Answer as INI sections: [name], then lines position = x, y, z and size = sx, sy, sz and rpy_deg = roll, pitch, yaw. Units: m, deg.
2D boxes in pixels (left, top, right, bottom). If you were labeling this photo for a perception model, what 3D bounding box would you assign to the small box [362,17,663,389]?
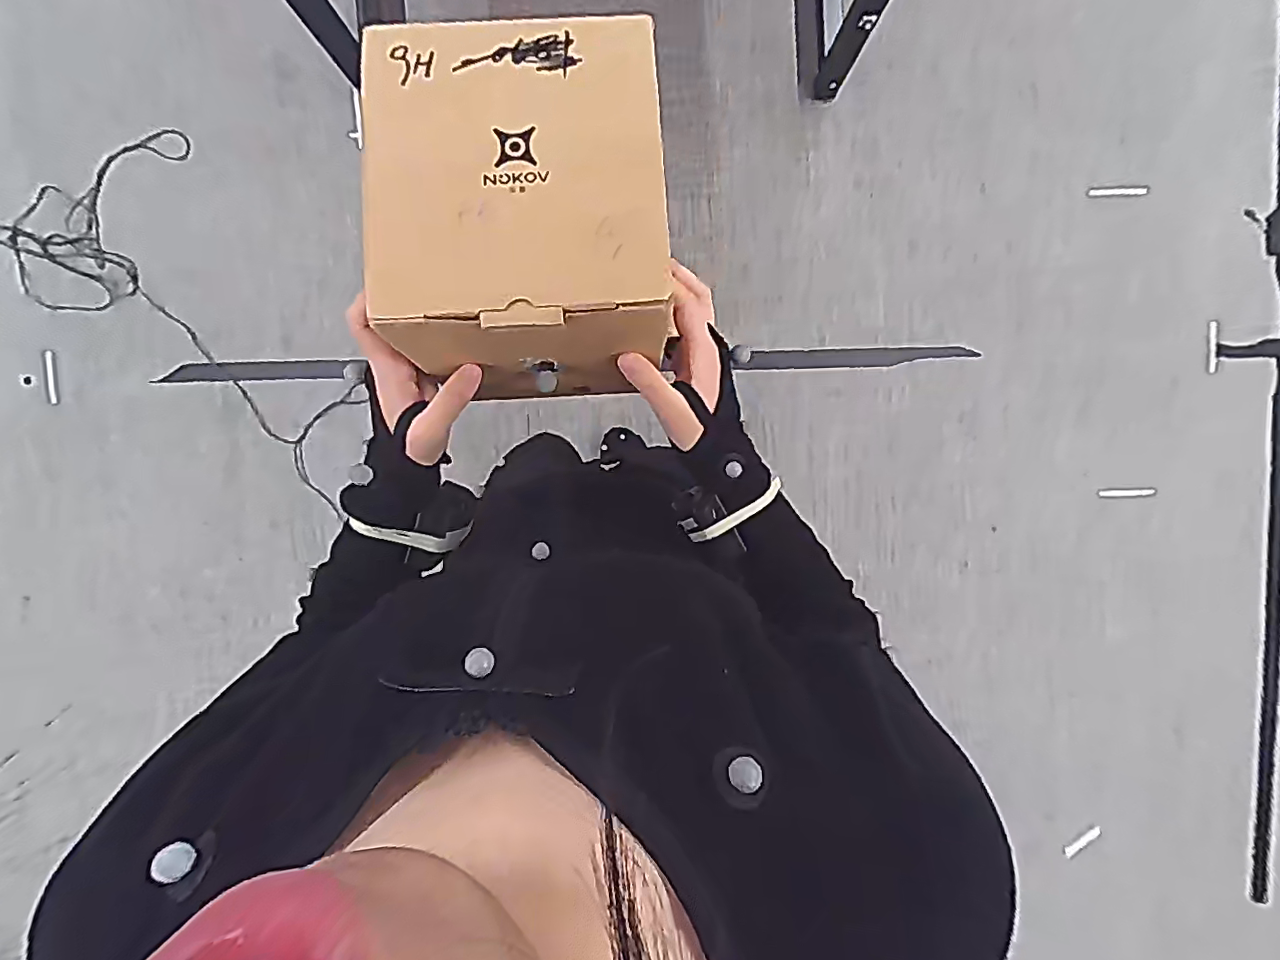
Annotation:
[small box]
position = -0.072, -0.167, 0.380
size = 0.168, 0.176, 0.179
rpy_deg = -4, 84, -2
